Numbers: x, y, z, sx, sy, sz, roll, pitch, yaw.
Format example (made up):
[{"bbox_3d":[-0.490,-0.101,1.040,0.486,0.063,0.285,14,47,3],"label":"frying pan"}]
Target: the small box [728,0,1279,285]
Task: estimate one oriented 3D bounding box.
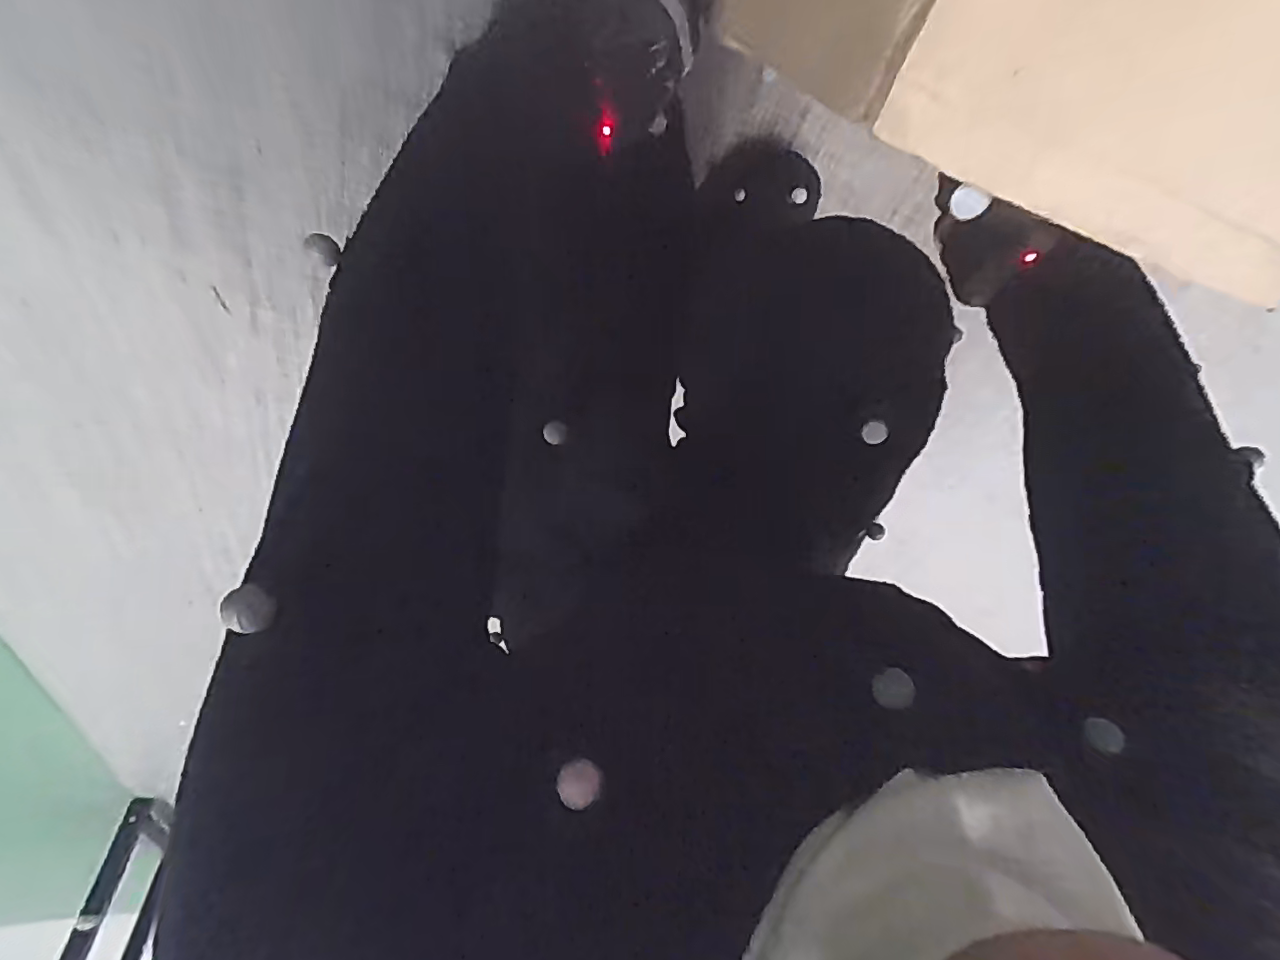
[{"bbox_3d":[0.148,-0.198,0.175,0.179,0.176,0.168,10,135,-18],"label":"small box"}]
